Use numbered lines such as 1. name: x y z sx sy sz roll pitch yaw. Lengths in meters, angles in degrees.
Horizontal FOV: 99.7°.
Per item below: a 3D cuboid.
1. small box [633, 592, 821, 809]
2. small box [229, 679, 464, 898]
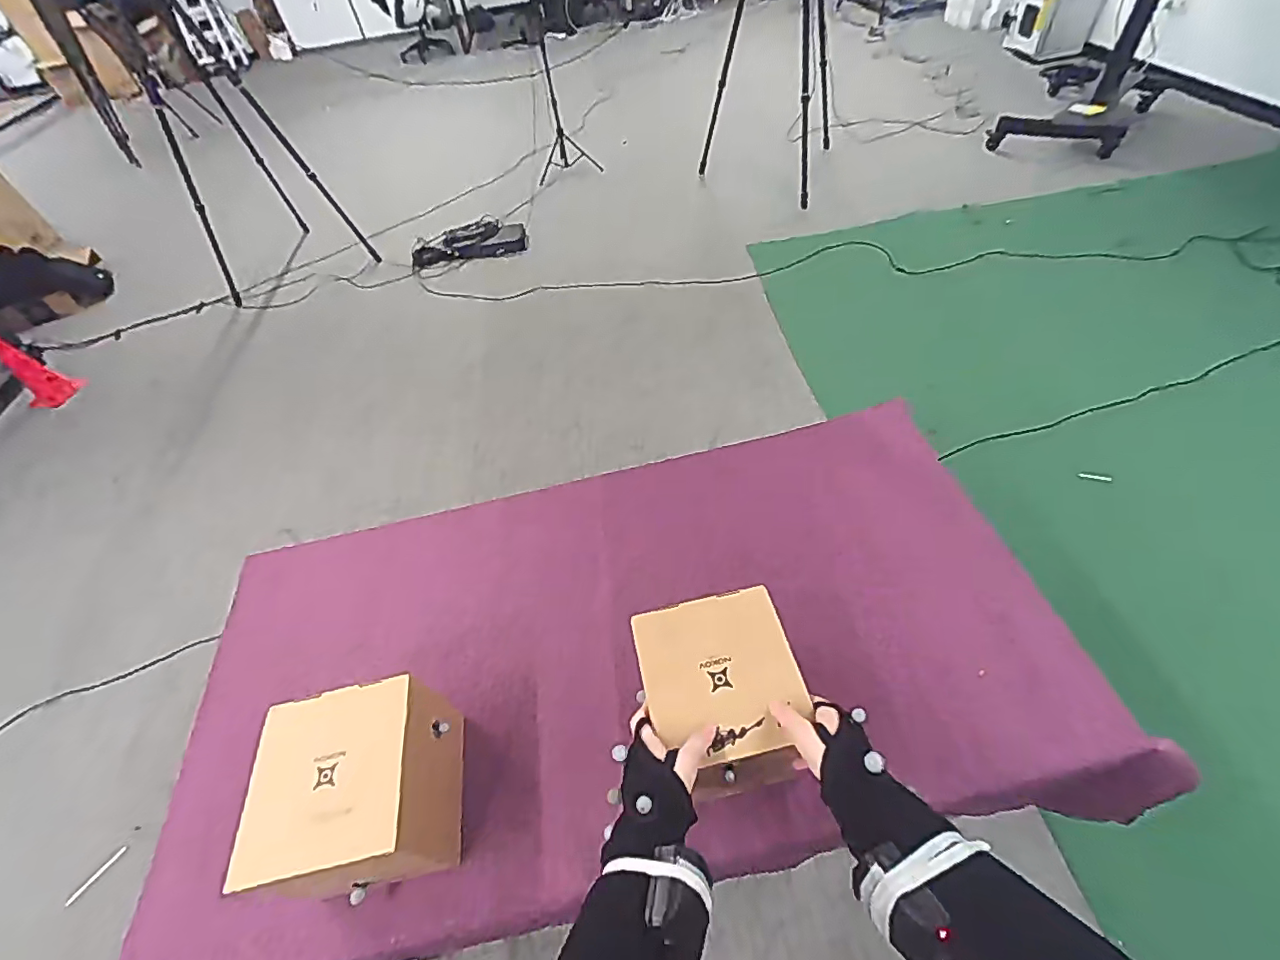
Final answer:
1. small box: 0.094 0.262 0.640 0.168 0.176 0.179 -14 50 0
2. small box: -0.314 0.359 0.626 0.168 0.176 0.179 -13 51 -1
